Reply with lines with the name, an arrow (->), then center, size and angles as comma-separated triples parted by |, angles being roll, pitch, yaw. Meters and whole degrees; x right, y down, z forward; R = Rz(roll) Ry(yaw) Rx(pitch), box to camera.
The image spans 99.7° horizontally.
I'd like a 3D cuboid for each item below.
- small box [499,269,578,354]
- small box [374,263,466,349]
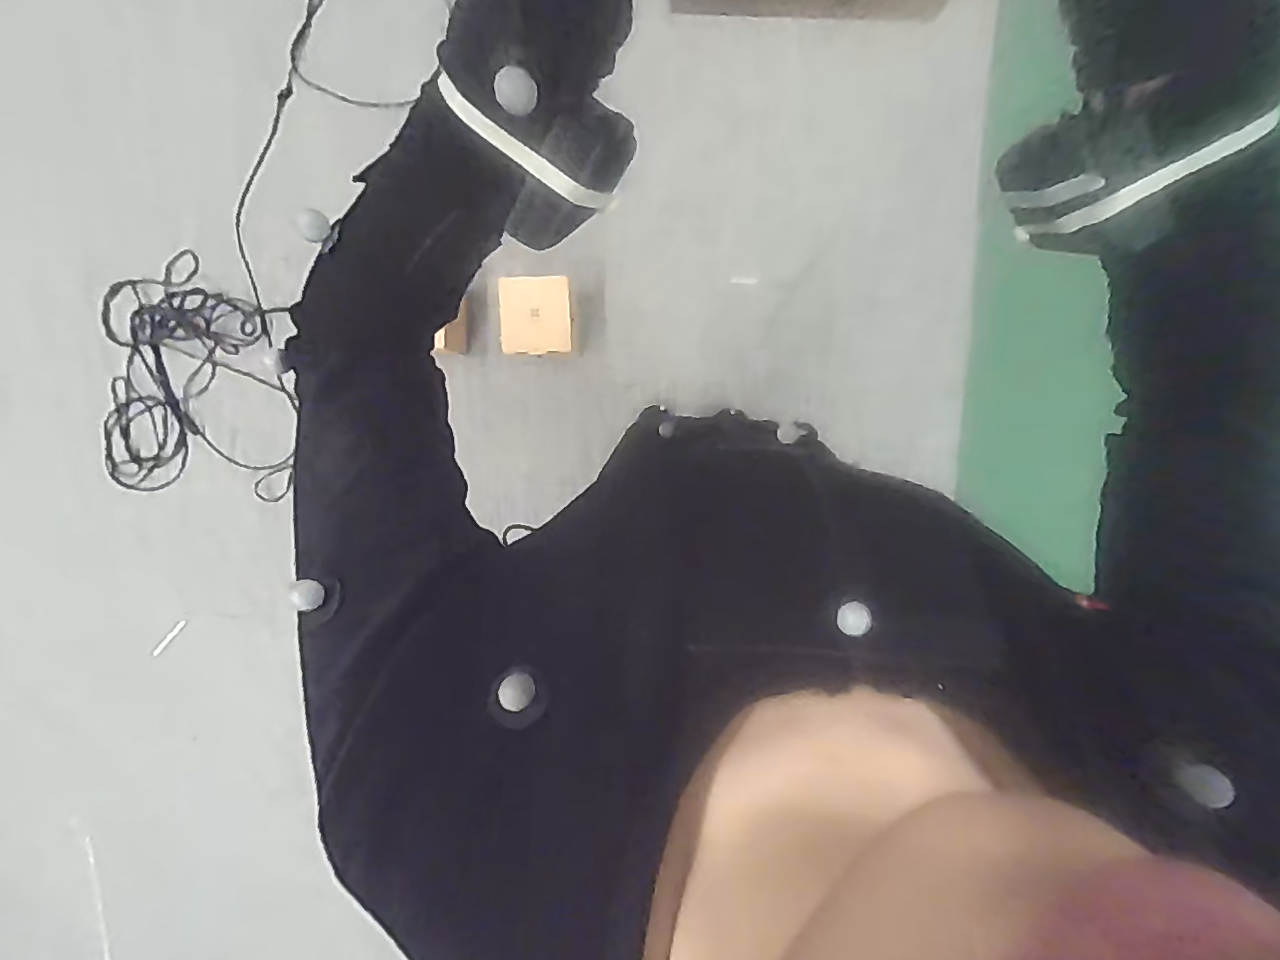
small box -> -0.246, -0.412, 1.342 | 0.168, 0.176, 0.179 | -2, 99, 0
small box -> -0.537, -0.421, 1.338 | 0.168, 0.176, 0.179 | 3, 97, -1
